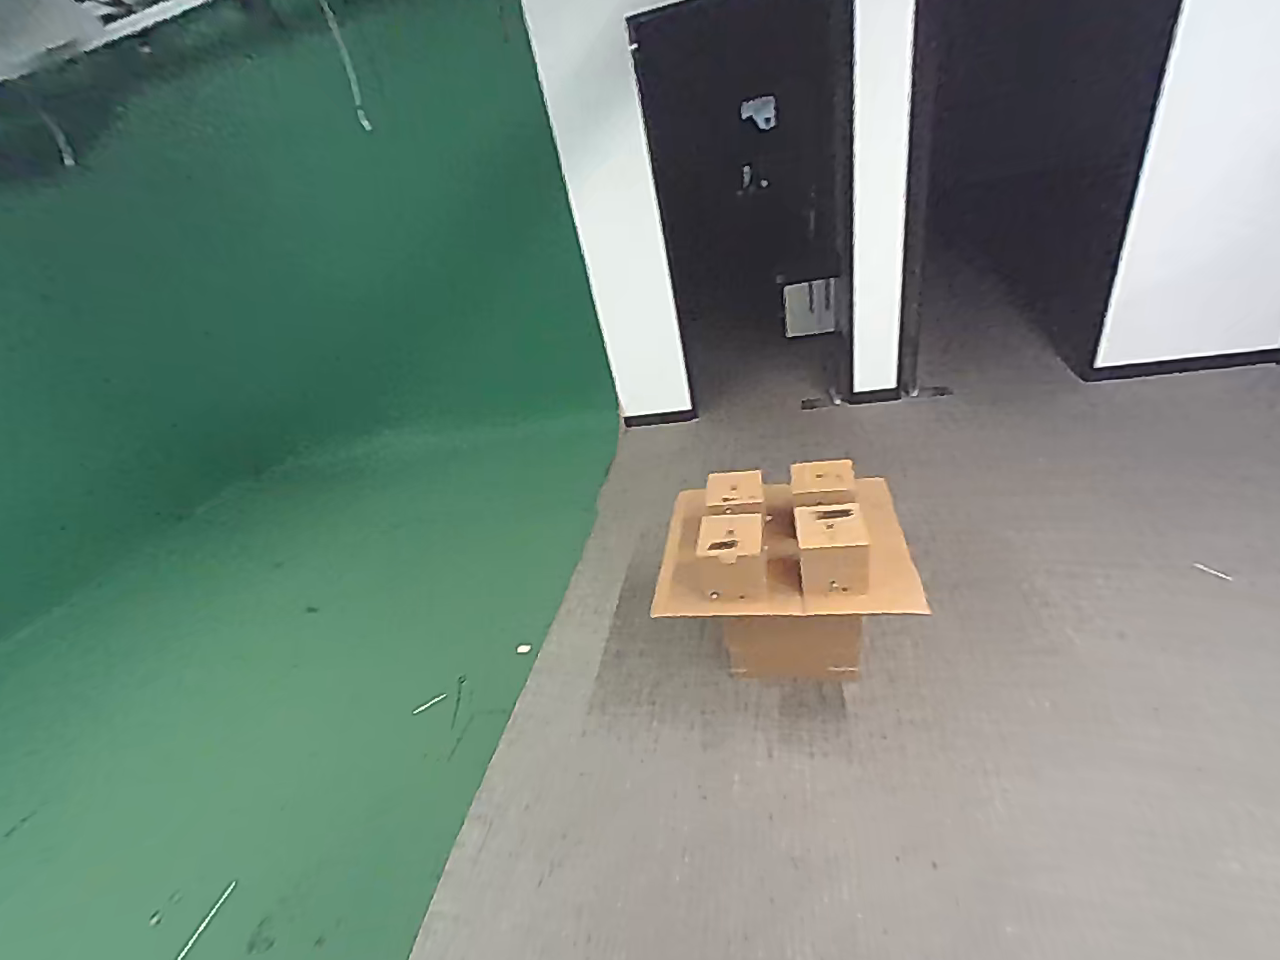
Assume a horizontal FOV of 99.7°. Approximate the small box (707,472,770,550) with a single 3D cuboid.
[{"bbox_3d":[0.305,0.095,1.659,0.168,0.176,0.179,-7,30,15],"label":"small box"}]
